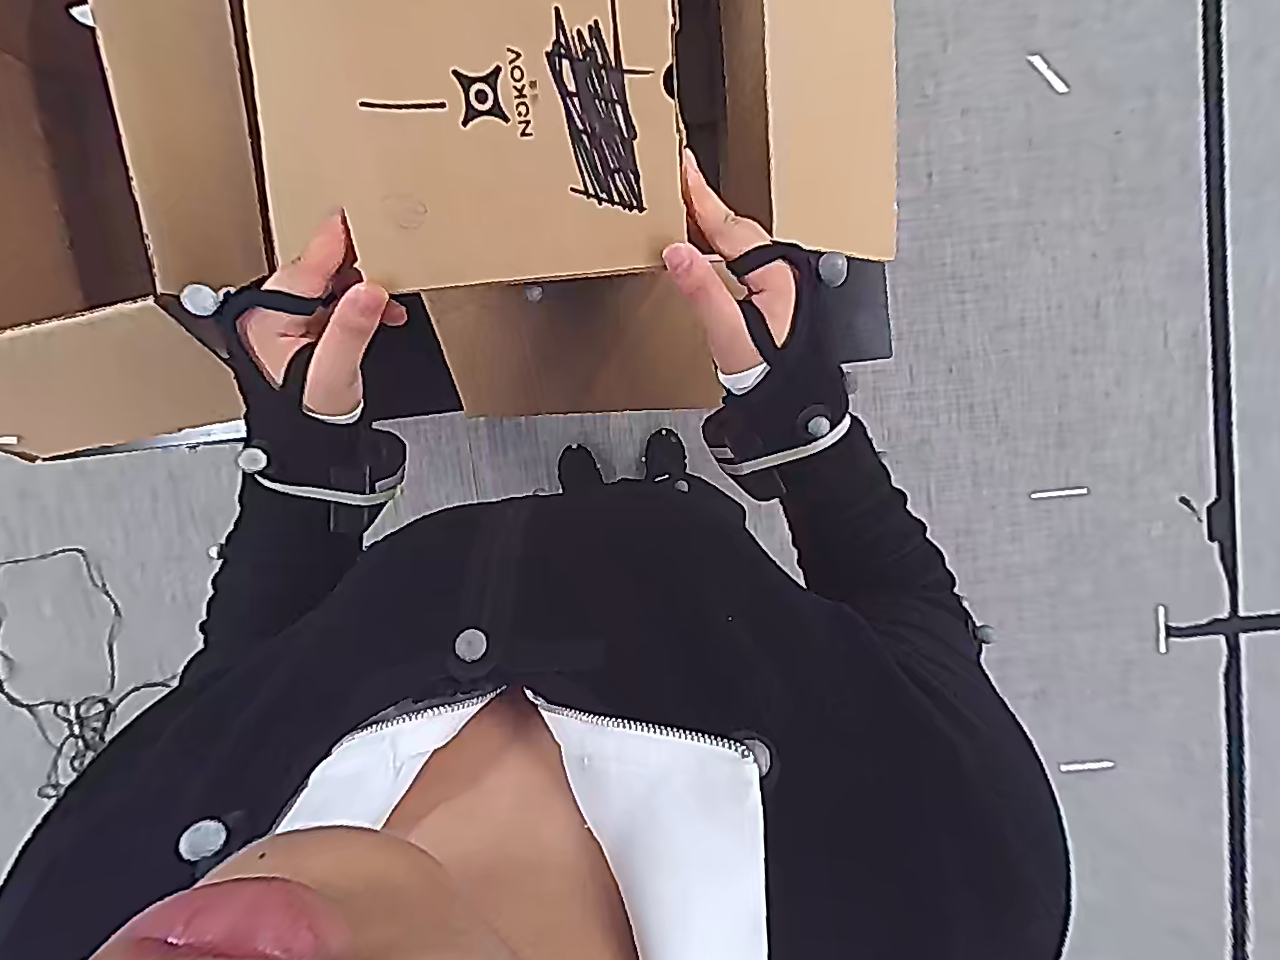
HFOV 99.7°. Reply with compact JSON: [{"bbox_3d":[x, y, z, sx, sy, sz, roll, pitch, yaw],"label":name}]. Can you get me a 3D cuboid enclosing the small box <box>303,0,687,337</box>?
[{"bbox_3d":[-0.070,-0.195,0.354,0.179,0.176,0.168,-5,113,-1],"label":"small box"}]
